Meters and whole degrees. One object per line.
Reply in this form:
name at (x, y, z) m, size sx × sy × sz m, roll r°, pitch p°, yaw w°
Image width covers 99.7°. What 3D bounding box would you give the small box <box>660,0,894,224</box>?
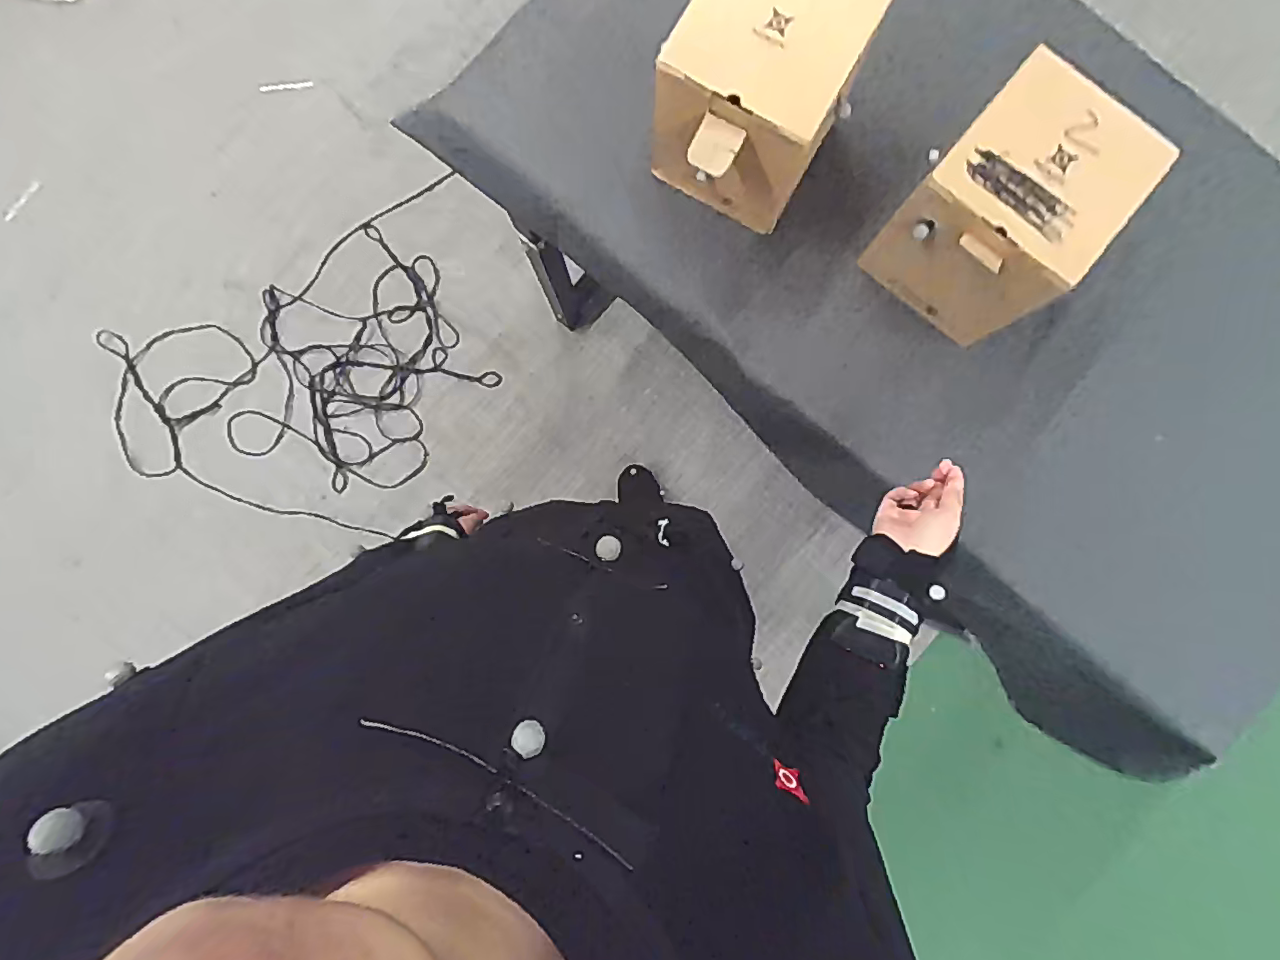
small box at (0.129, -0.424, 0.584) m, size 0.168 × 0.176 × 0.179 m, roll 29°, pitch 88°, yaw 1°
